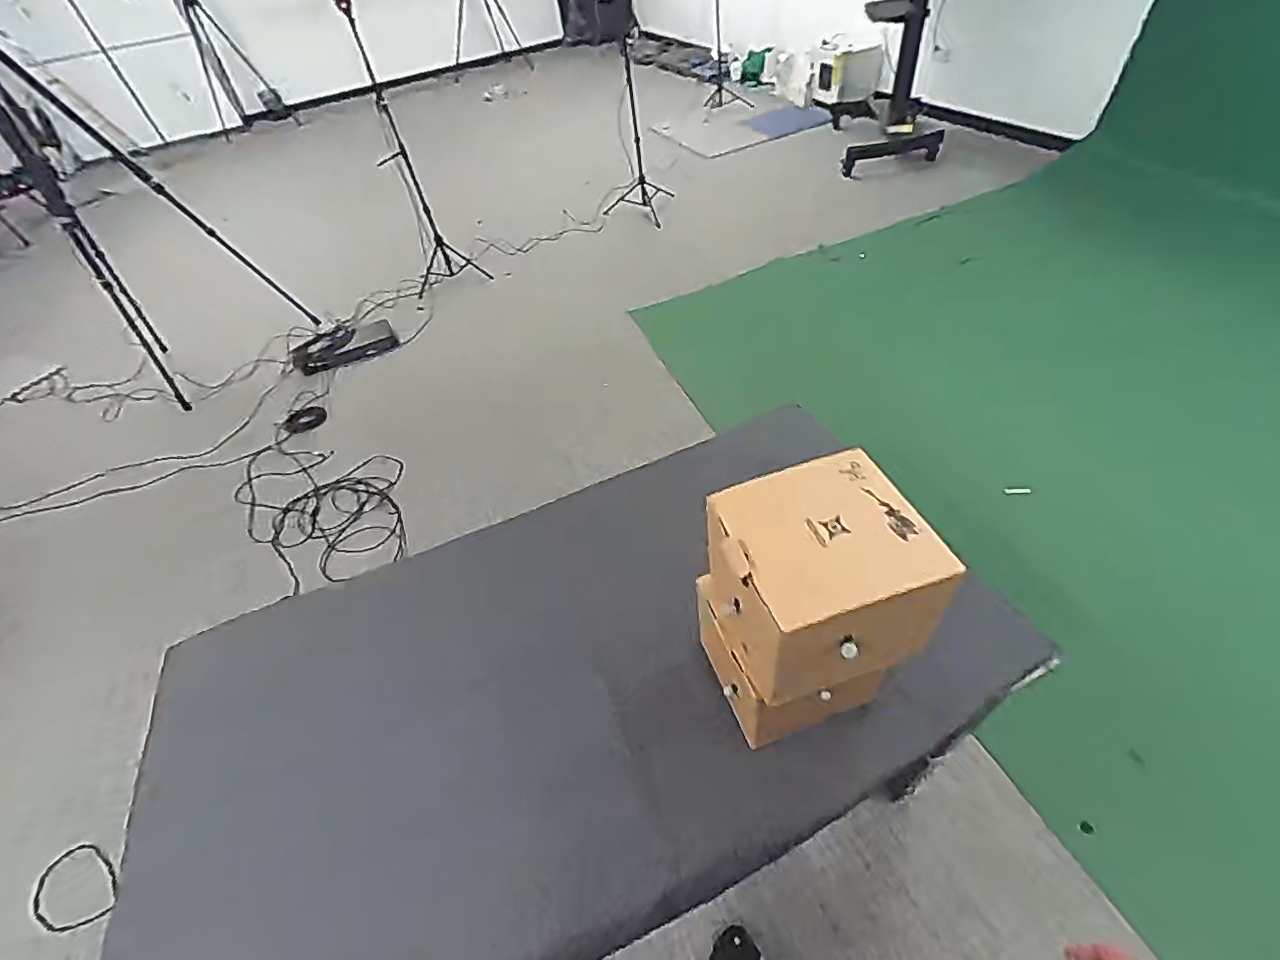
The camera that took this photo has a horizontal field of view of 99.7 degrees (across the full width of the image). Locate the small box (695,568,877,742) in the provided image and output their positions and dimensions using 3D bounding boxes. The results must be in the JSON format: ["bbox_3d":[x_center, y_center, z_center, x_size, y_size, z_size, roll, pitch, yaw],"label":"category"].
[{"bbox_3d":[0.183,0.200,0.681,0.179,0.176,0.168,-18,48,-8],"label":"small box"}]

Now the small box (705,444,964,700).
[{"bbox_3d":[0.179,0.097,0.552,0.179,0.176,0.168,-17,47,-5],"label":"small box"}]
